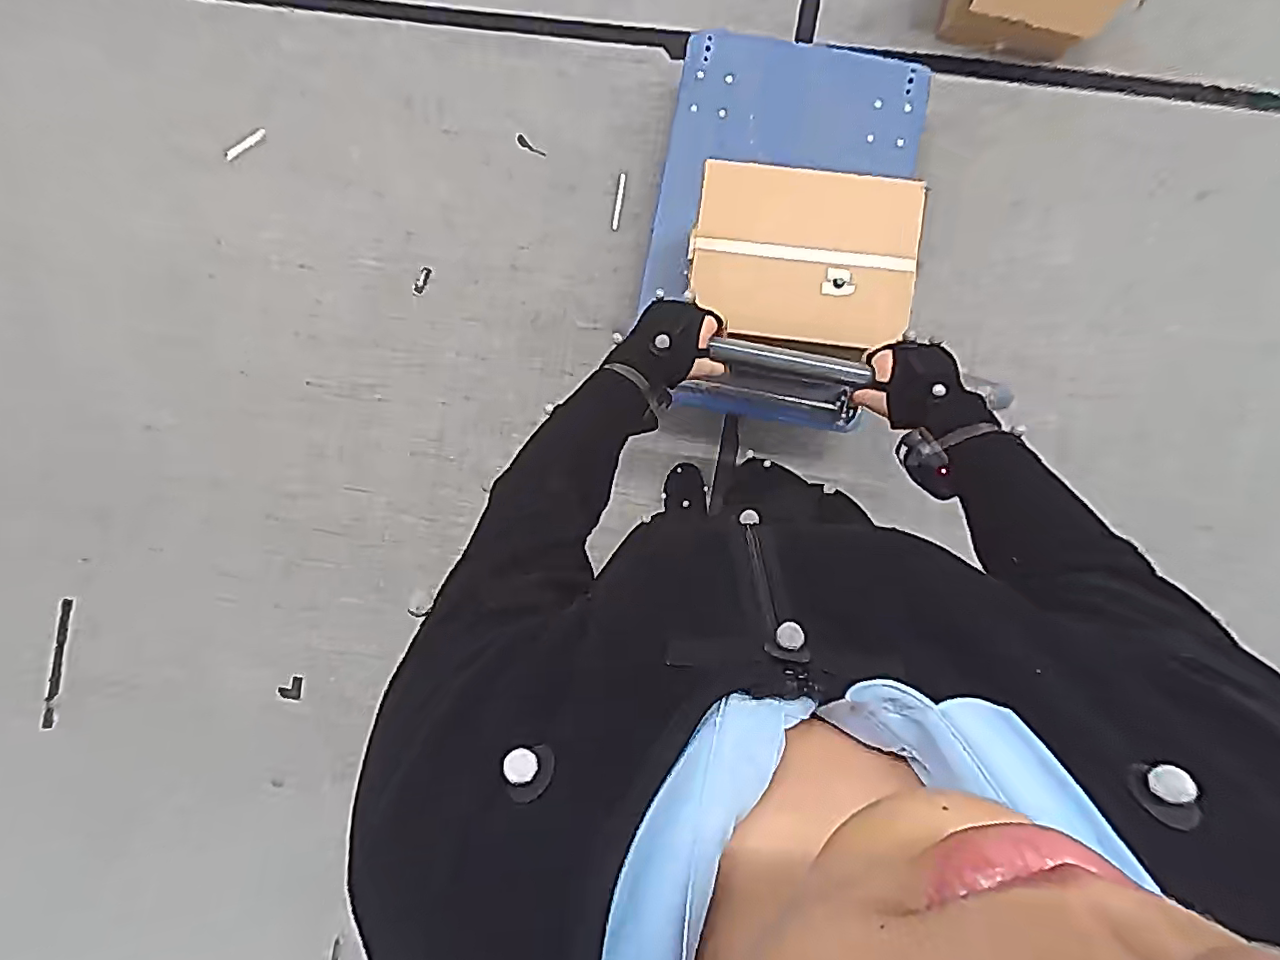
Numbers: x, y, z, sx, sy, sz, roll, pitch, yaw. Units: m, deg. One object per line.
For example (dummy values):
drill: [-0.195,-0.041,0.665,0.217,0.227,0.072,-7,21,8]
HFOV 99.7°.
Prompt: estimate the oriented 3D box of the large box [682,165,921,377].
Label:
large box: [0.309,-0.417,1.153,0.408,0.320,0.320,7,92,2]
